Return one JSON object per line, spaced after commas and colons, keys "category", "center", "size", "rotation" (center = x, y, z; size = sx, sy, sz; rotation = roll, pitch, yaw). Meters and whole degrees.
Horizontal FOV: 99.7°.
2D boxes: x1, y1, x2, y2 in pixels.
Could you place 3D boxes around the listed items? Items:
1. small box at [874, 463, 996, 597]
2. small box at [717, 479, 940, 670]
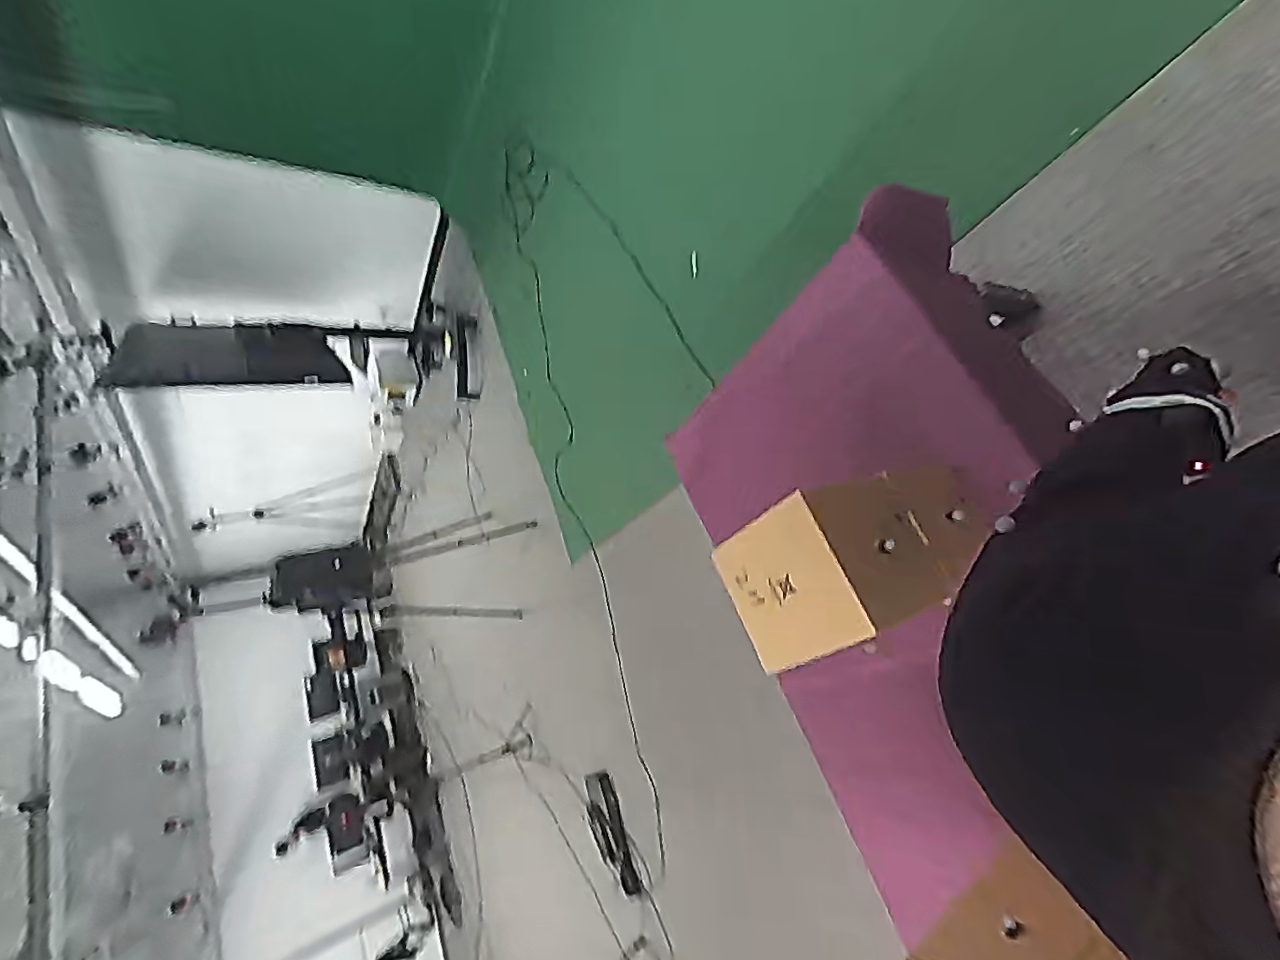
{"category": "small box", "center": [0.367, 0.089, 0.771], "size": [0.179, 0.176, 0.168], "rotation": [-46, 60, 47]}
{"category": "small box", "center": [0.235, 0.112, 0.672], "size": [0.179, 0.176, 0.168], "rotation": [-47, 59, 47]}
